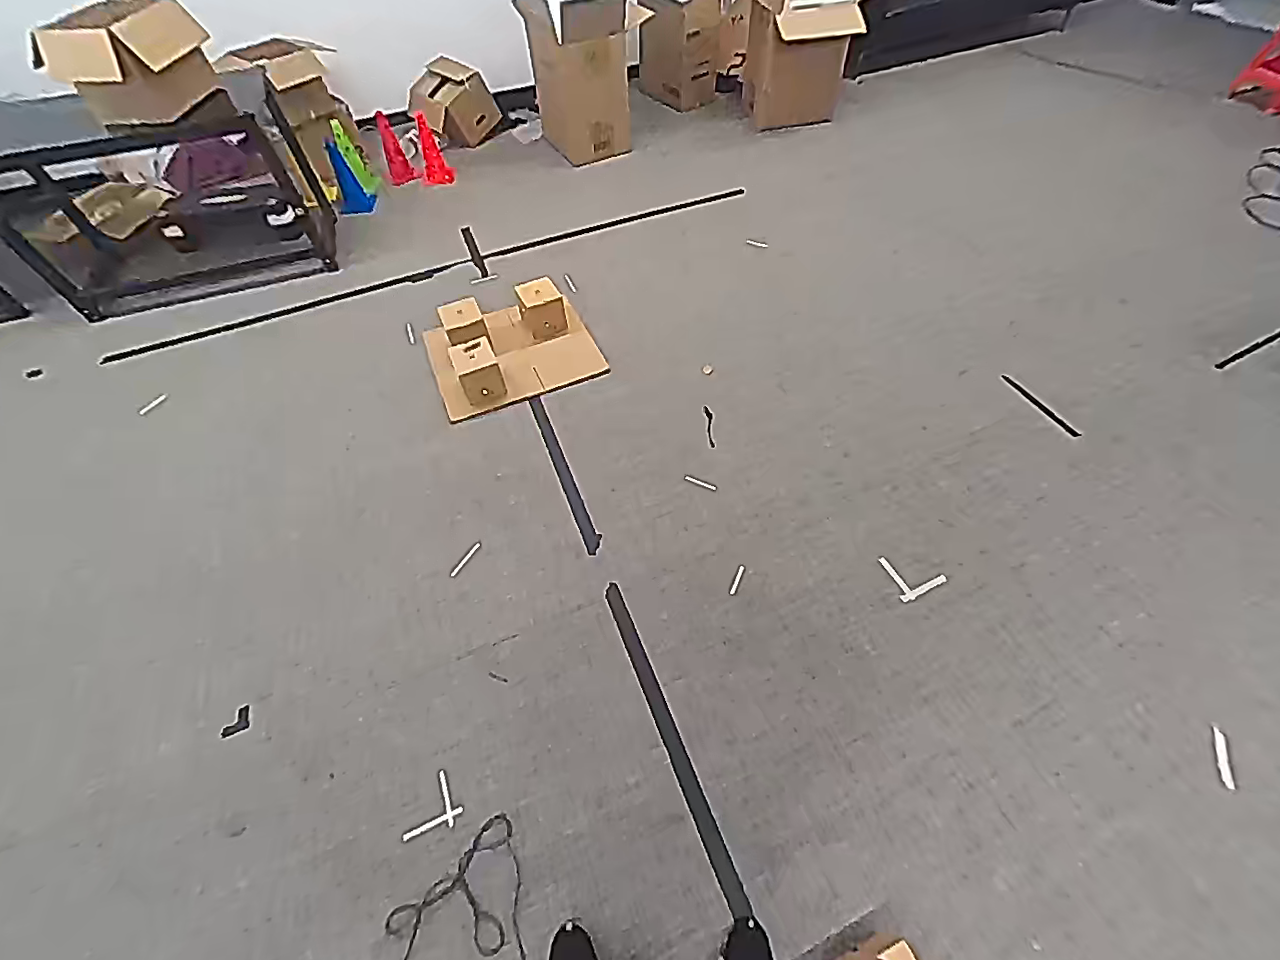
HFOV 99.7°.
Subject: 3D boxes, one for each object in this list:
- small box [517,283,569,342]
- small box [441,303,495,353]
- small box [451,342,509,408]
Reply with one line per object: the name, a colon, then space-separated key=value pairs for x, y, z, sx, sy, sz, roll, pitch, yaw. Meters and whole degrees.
small box: x=-0.438 y=-0.758 z=2.451 sx=0.168 sy=0.176 sz=0.179 roll=-24 pitch=57 yaw=-14
small box: x=-0.753 y=-0.643 z=2.375 sx=0.168 sy=0.176 sz=0.179 roll=-22 pitch=56 yaw=-12
small box: x=-0.653 y=-0.428 z=2.215 sx=0.168 sy=0.176 sz=0.179 roll=-22 pitch=57 yaw=-12
